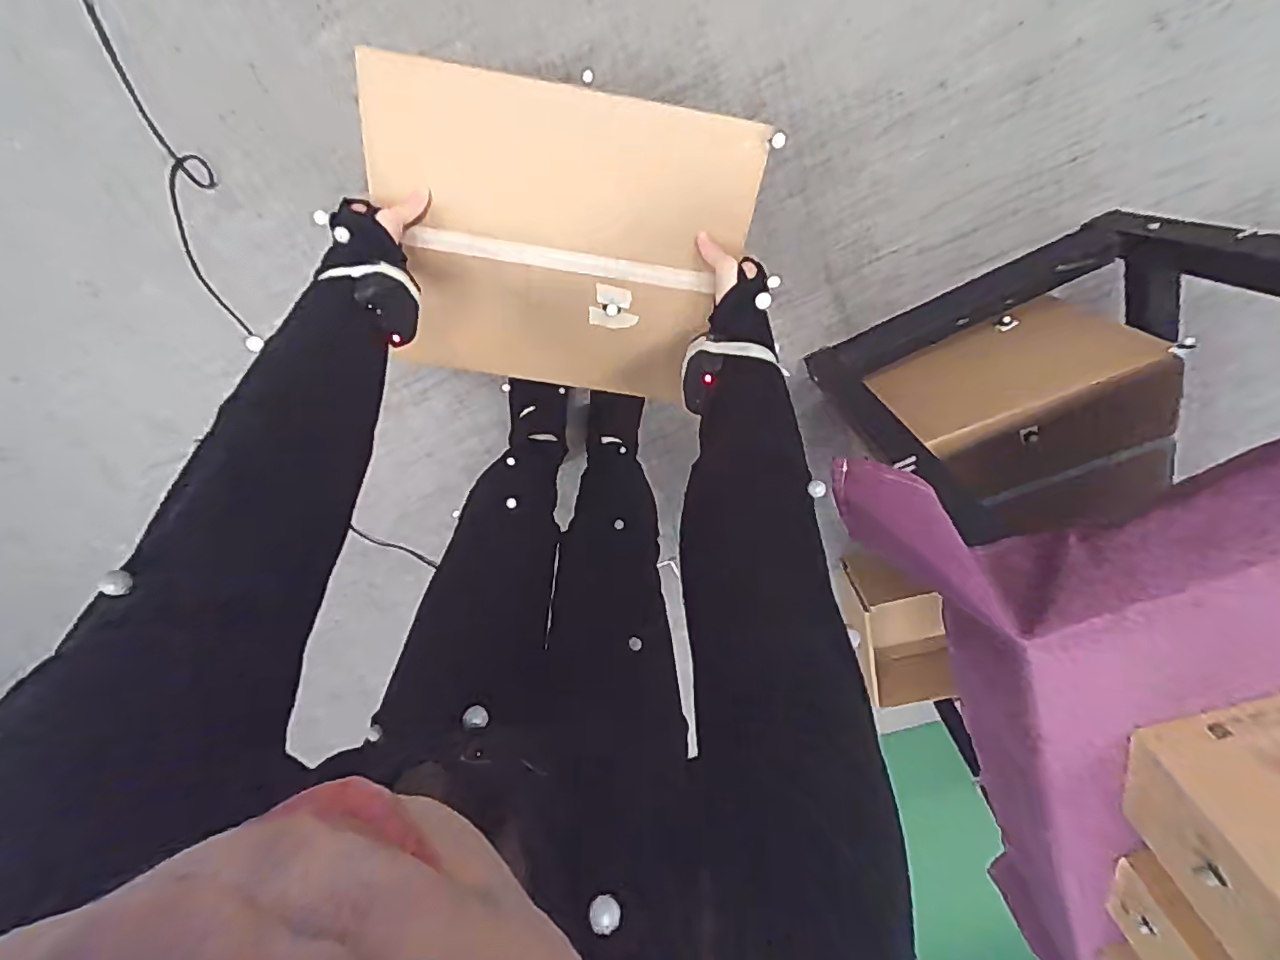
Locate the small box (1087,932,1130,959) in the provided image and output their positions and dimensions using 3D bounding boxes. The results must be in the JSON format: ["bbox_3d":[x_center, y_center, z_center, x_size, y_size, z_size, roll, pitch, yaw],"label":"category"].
[{"bbox_3d":[0.815,0.796,0.810,0.179,0.176,0.168,-21,121,10],"label":"small box"}]

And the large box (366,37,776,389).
[{"bbox_3d":[-0.084,-0.349,0.724,0.408,0.320,0.320,8,126,-5],"label":"large box"}]
